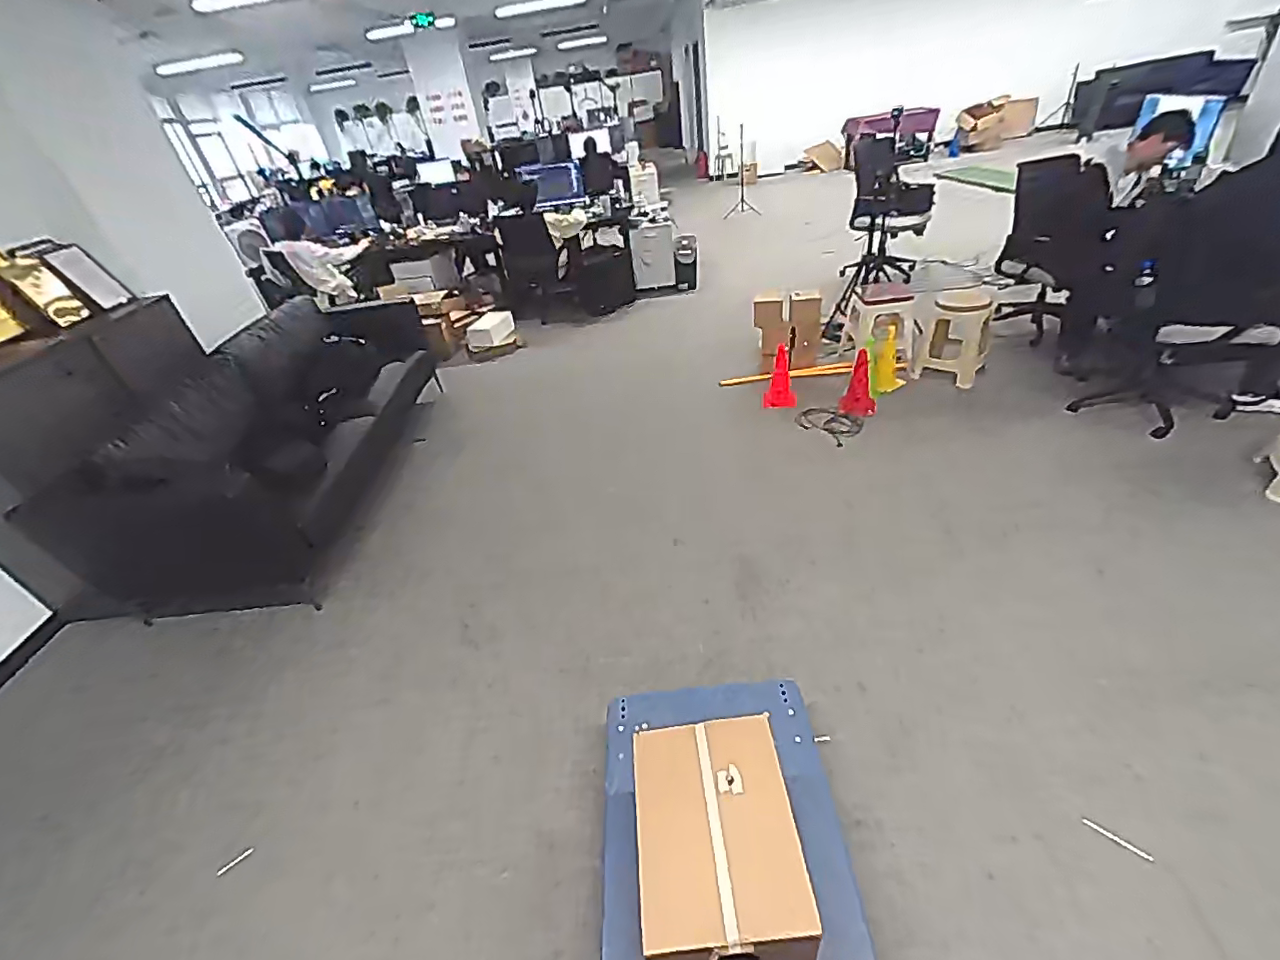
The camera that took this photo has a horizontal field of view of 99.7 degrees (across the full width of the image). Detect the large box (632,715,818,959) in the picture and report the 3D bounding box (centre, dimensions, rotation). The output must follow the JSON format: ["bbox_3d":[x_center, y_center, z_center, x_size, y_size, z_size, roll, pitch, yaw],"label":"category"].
[{"bbox_3d":[0.169,0.803,1.182,0.320,0.320,0.408,-9,36,2],"label":"large box"}]
